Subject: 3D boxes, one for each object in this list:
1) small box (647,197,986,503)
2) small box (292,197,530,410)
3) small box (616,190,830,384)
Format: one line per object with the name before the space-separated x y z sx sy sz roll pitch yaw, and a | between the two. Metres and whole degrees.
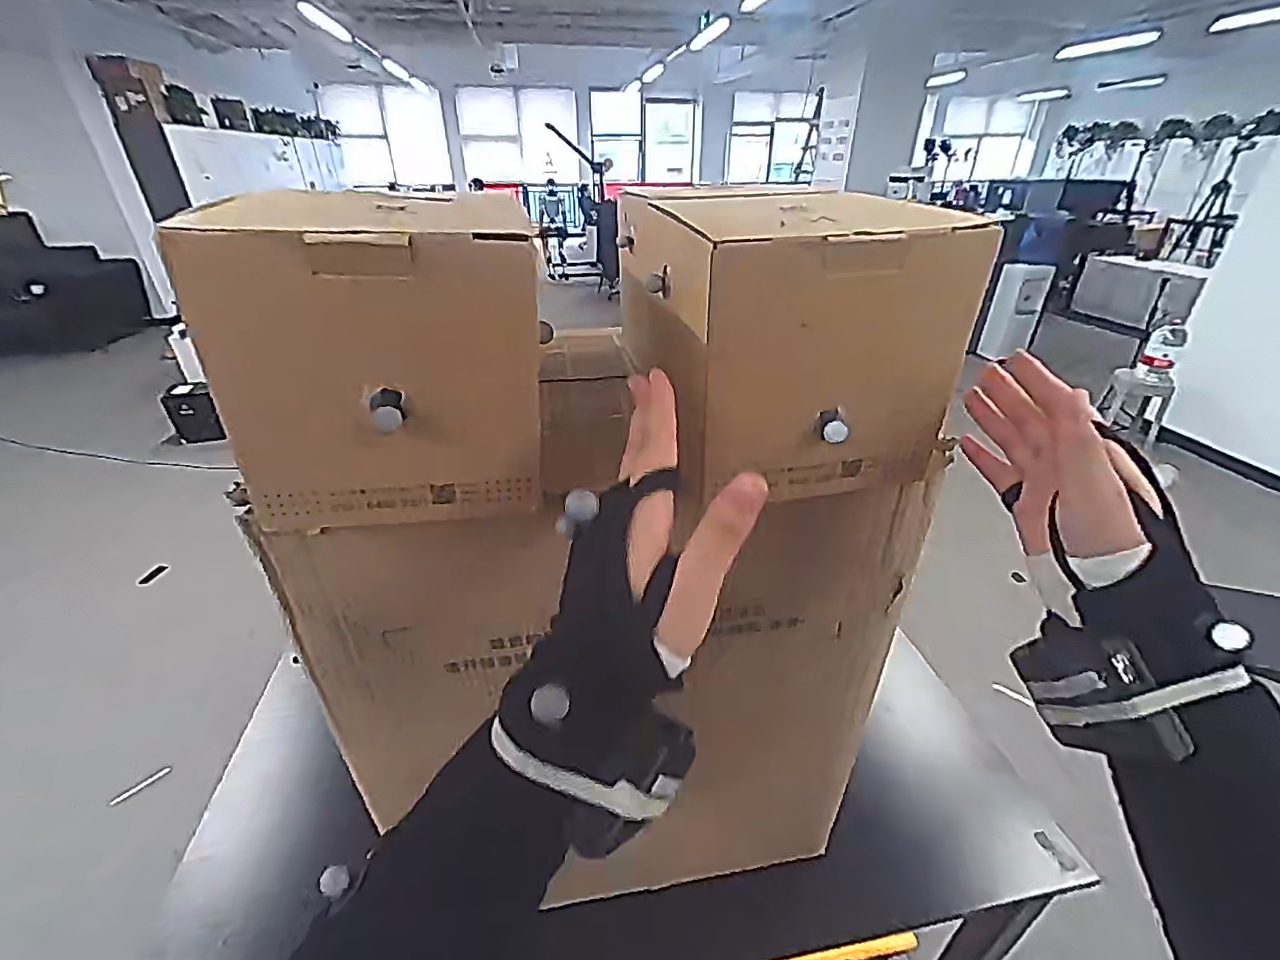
small box | 0.099 -0.104 0.400 0.168 0.176 0.179 -8 34 -8
small box | -0.200 -0.179 0.530 0.168 0.176 0.179 -6 31 -10
small box | 0.070 -0.202 0.560 0.168 0.176 0.179 -8 31 -9
